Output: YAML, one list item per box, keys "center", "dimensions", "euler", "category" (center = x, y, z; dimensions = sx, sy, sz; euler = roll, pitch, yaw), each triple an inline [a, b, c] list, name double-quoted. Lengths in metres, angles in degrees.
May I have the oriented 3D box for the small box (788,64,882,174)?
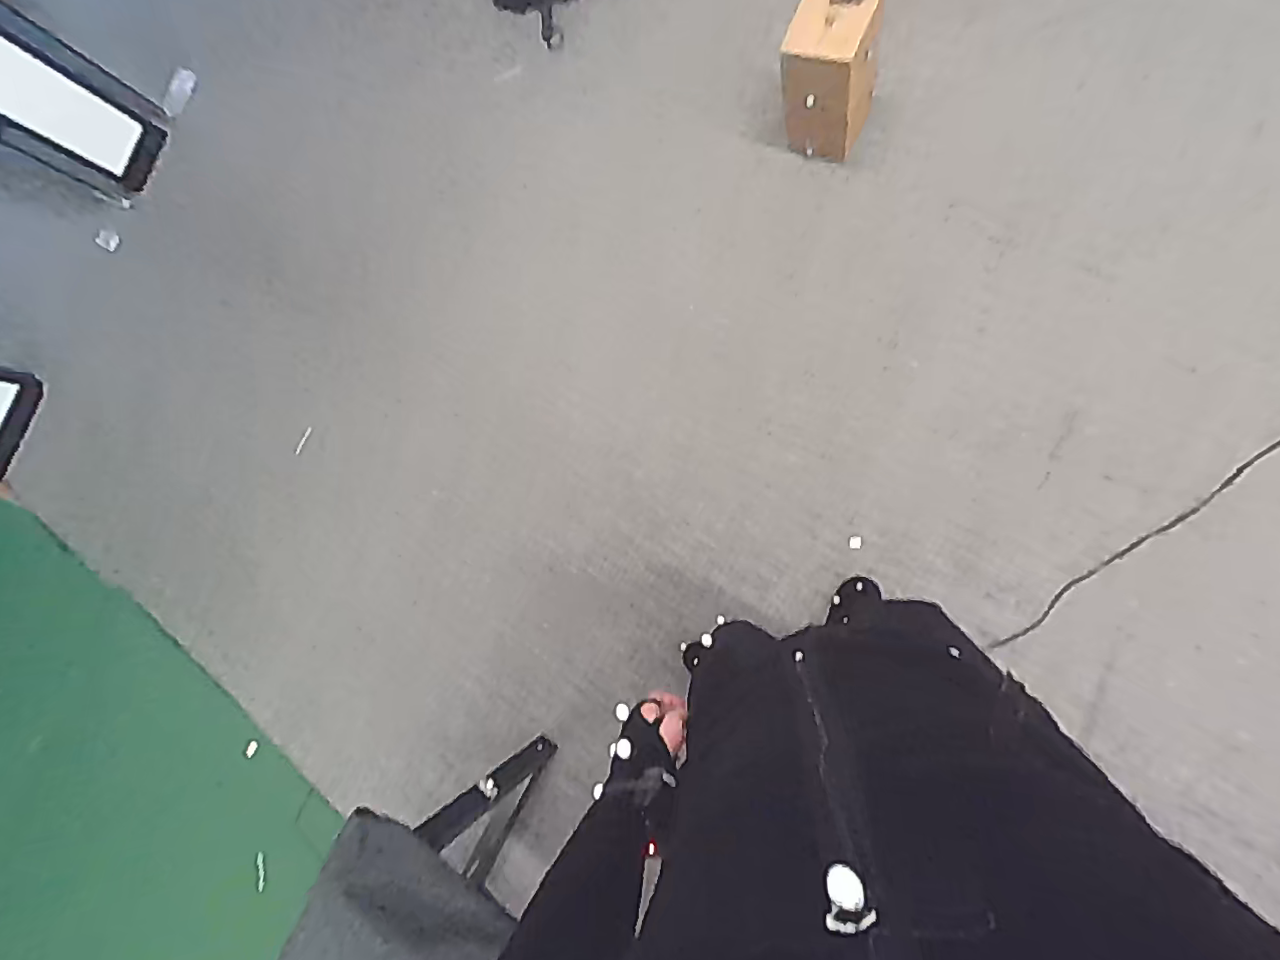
- center: [0.495, -0.933, 1.387]
  dimensions: [0.168, 0.176, 0.179]
  euler: [26, 92, 20]
  category: "small box"

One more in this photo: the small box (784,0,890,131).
- center: [0.442, -0.949, 1.232]
  dimensions: [0.168, 0.176, 0.179]
  euler: [26, 91, 19]
  category: "small box"
